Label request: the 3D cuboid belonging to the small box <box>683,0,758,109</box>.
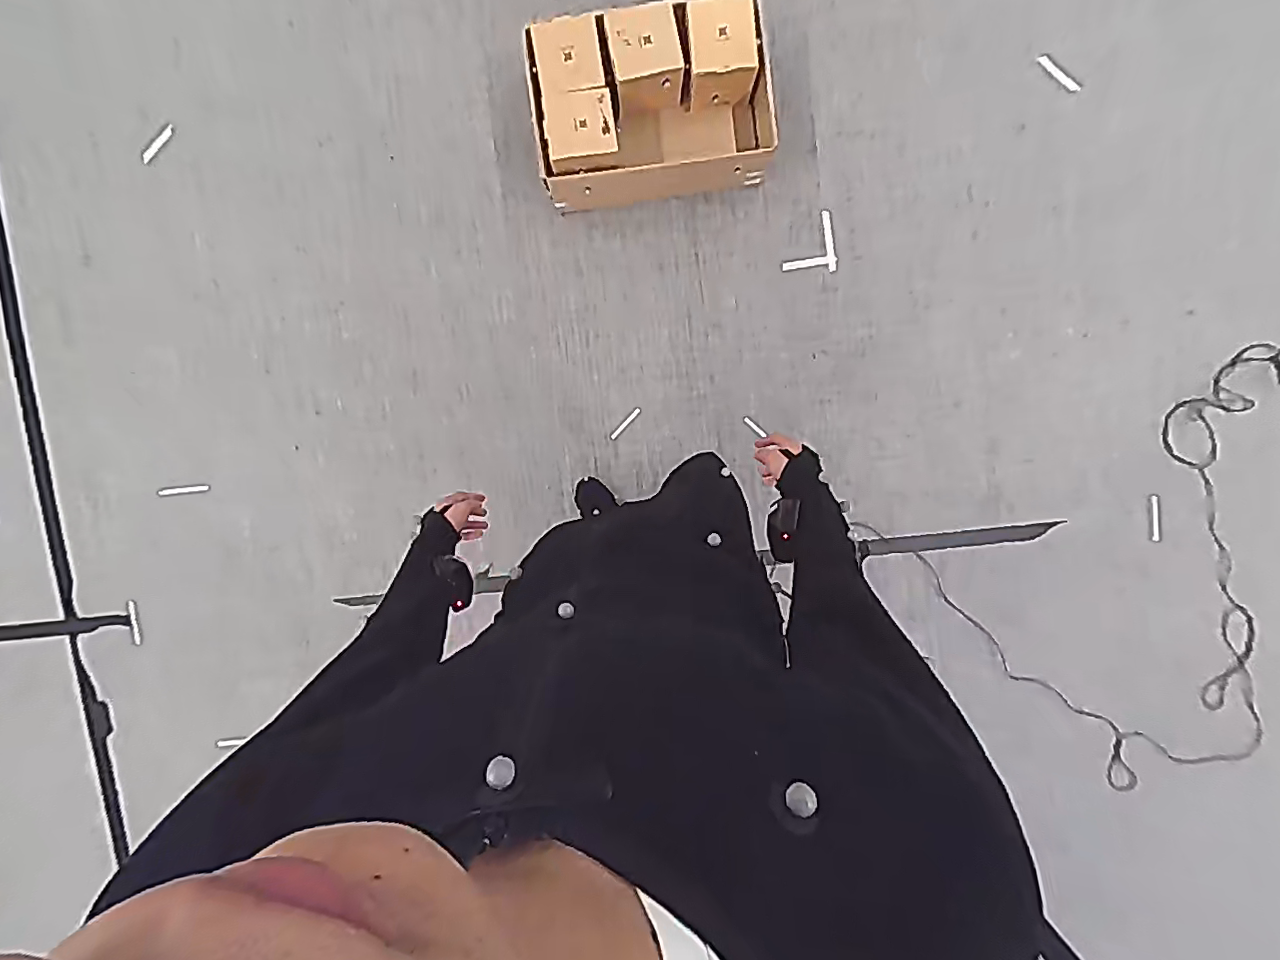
[{"bbox_3d":[0.206,-1.120,1.418,0.168,0.176,0.179,-7,97,2],"label":"small box"}]
